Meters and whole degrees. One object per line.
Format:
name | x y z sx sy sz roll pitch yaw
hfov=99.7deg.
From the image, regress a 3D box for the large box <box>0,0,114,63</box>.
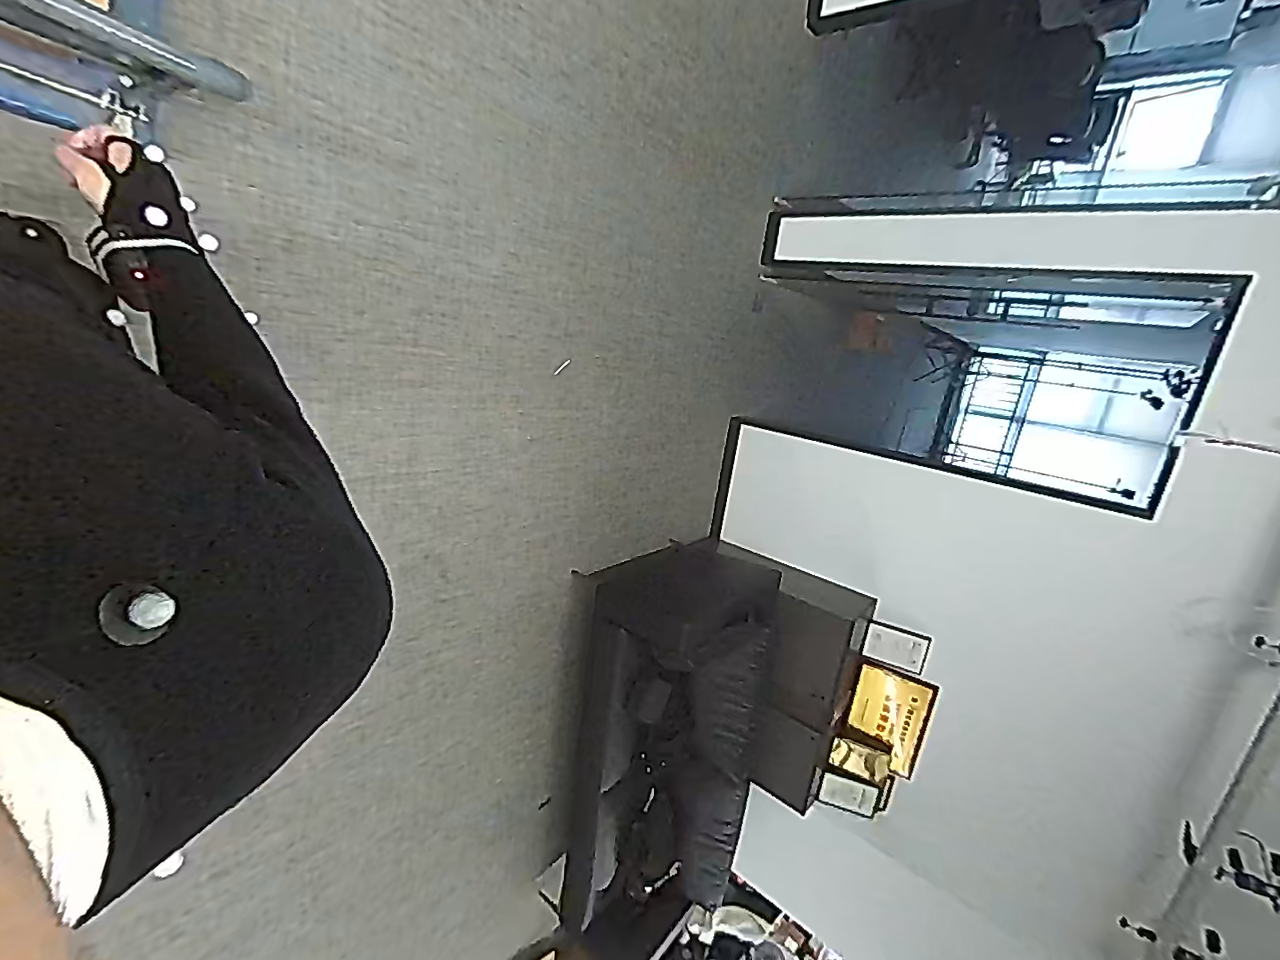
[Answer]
large box | -0.920 -0.861 0.691 0.320 0.320 0.408 -4 107 -53
